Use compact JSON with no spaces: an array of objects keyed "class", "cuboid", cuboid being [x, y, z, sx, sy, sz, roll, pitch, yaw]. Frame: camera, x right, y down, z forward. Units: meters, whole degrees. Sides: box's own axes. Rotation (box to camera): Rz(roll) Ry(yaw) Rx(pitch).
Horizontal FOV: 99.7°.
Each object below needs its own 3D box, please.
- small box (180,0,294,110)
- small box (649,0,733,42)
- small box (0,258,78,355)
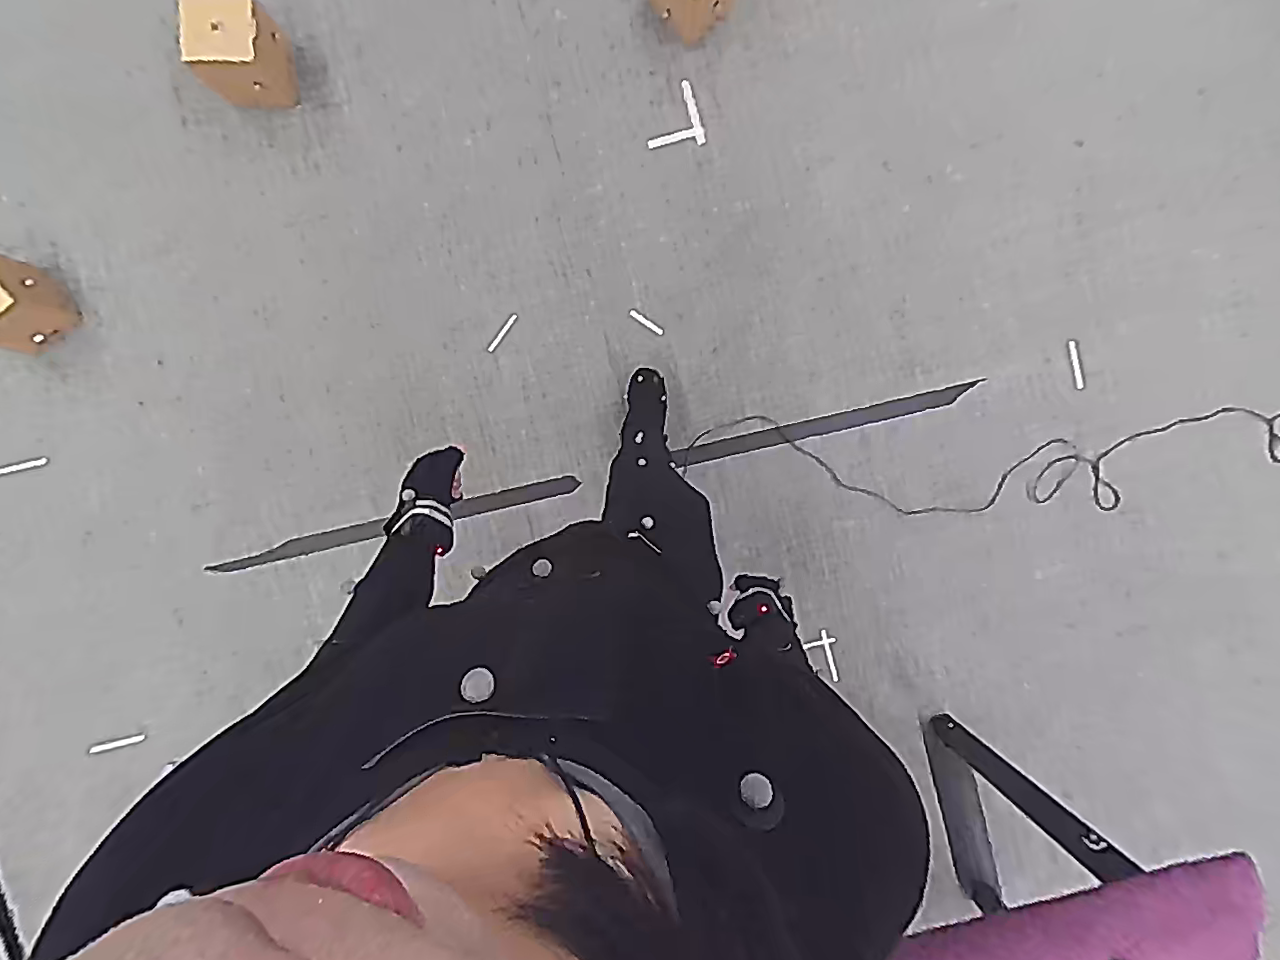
[{"class":"small box","cuboid":[-1.005,-1.071,1.365,0.179,0.176,0.168,-2,90,-1]},{"class":"small box","cuboid":[0.137,-1.282,1.386,0.168,0.176,0.179,-42,93,0]},{"class":"small box","cuboid":[-1.610,-0.441,1.362,0.168,0.176,0.179,-37,93,0]}]
